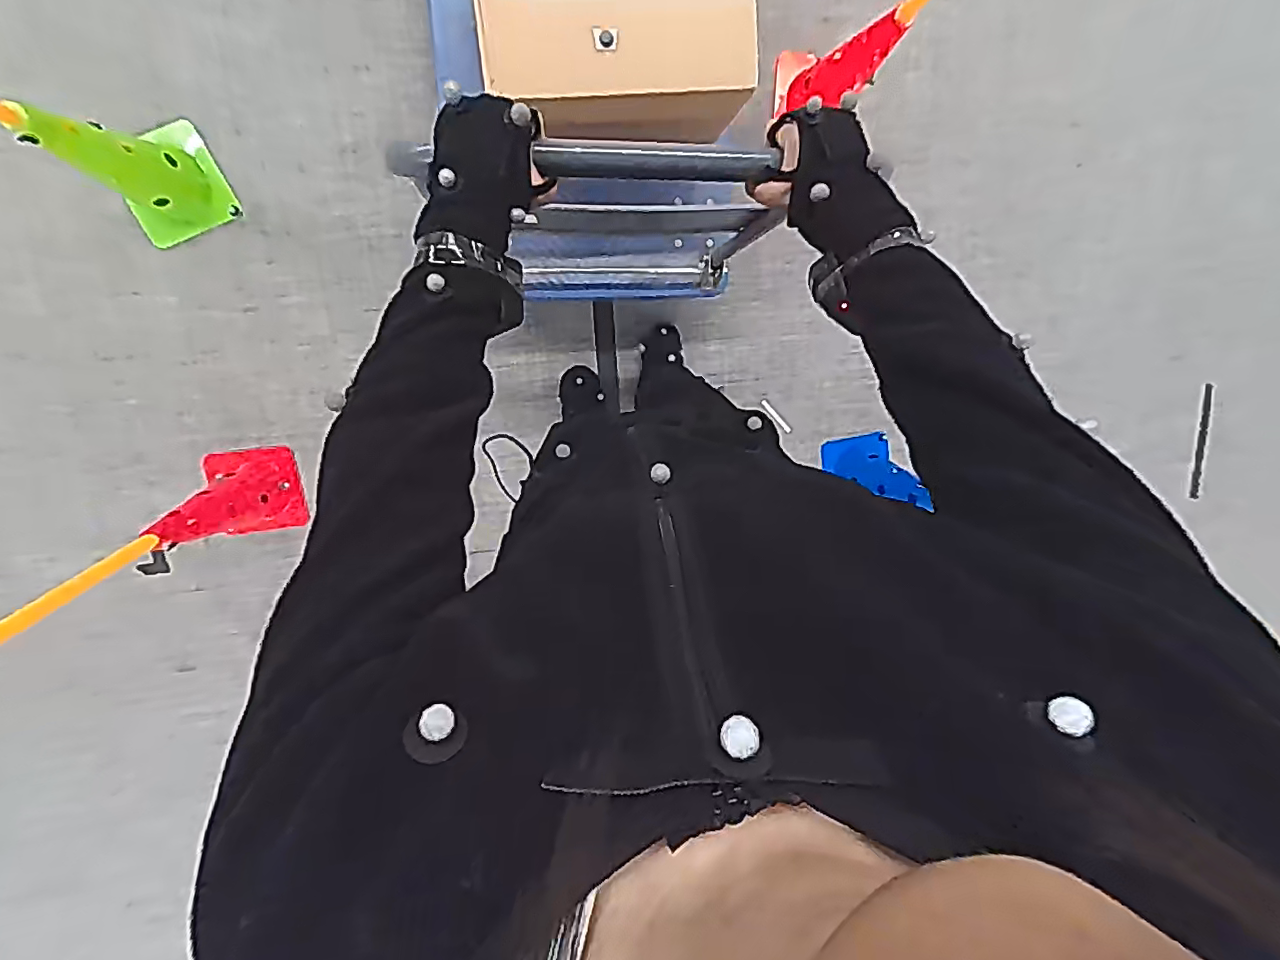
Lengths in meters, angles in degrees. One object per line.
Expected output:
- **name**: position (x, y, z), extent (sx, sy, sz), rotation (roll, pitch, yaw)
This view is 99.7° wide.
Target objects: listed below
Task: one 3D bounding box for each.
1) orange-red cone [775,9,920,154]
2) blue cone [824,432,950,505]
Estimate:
- **orange-red cone**: position (0.453, -0.854, 1.123), extent (0.199, 0.360, 0.198), rotation (0, 104, -10)
- **blue cone**: position (0.639, 0.003, 1.367), extent (0.193, 0.380, 0.192), rotation (-10, 103, -7)
